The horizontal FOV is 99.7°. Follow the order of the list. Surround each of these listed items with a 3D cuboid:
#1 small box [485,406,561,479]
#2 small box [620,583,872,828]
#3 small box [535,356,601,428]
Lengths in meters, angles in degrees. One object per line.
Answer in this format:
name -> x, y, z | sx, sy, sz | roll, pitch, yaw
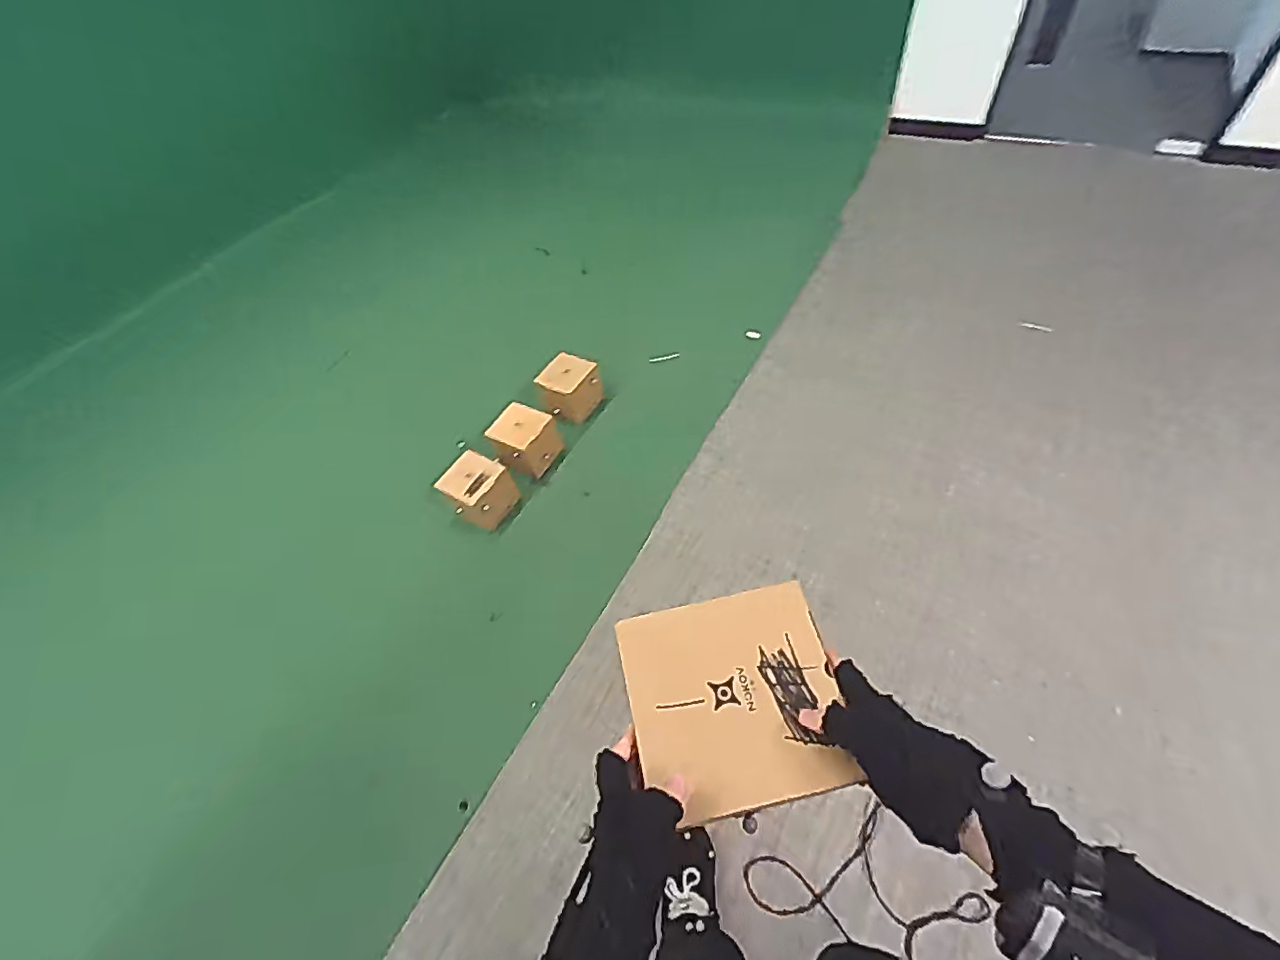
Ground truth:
small box -> -0.404, -0.128, 1.895 | 0.179, 0.176, 0.168 | 22, 60, 21
small box -> 0.083, 0.218, 0.515 | 0.179, 0.176, 0.168 | -11, 56, -3
small box -> -0.262, -0.328, 2.018 | 0.168, 0.176, 0.179 | 24, 60, 23
